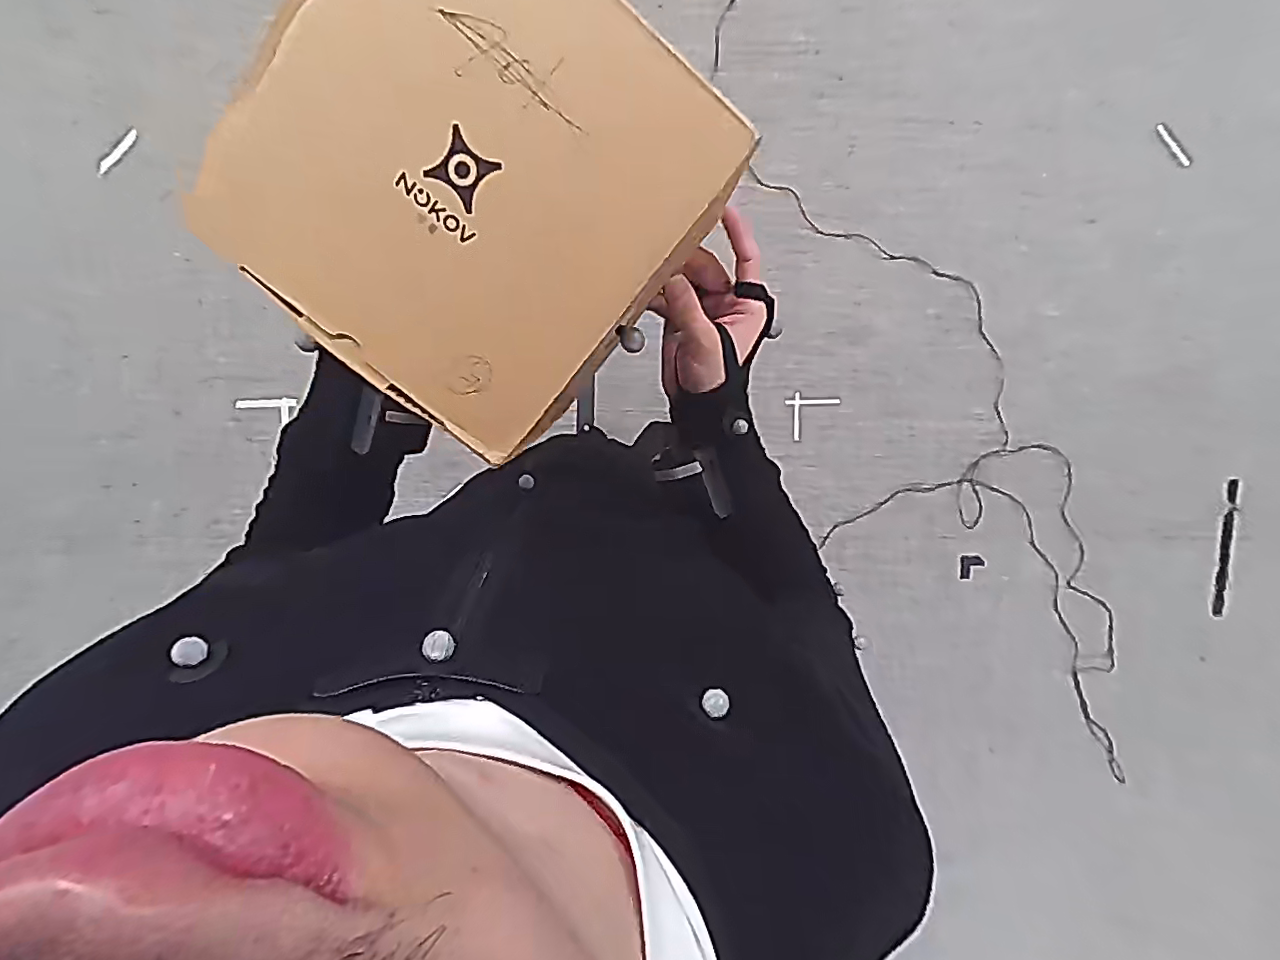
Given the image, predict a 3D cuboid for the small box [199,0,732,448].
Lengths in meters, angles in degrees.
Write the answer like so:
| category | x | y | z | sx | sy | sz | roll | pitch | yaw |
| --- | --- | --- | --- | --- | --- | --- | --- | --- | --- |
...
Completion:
| category | x | y | z | sx | sy | sz | roll | pitch | yaw |
| --- | --- | --- | --- | --- | --- | --- | --- | --- | --- |
| small box | -0.073 | -0.147 | 0.302 | 0.168 | 0.176 | 0.179 | 38 | 103 | -9 |
